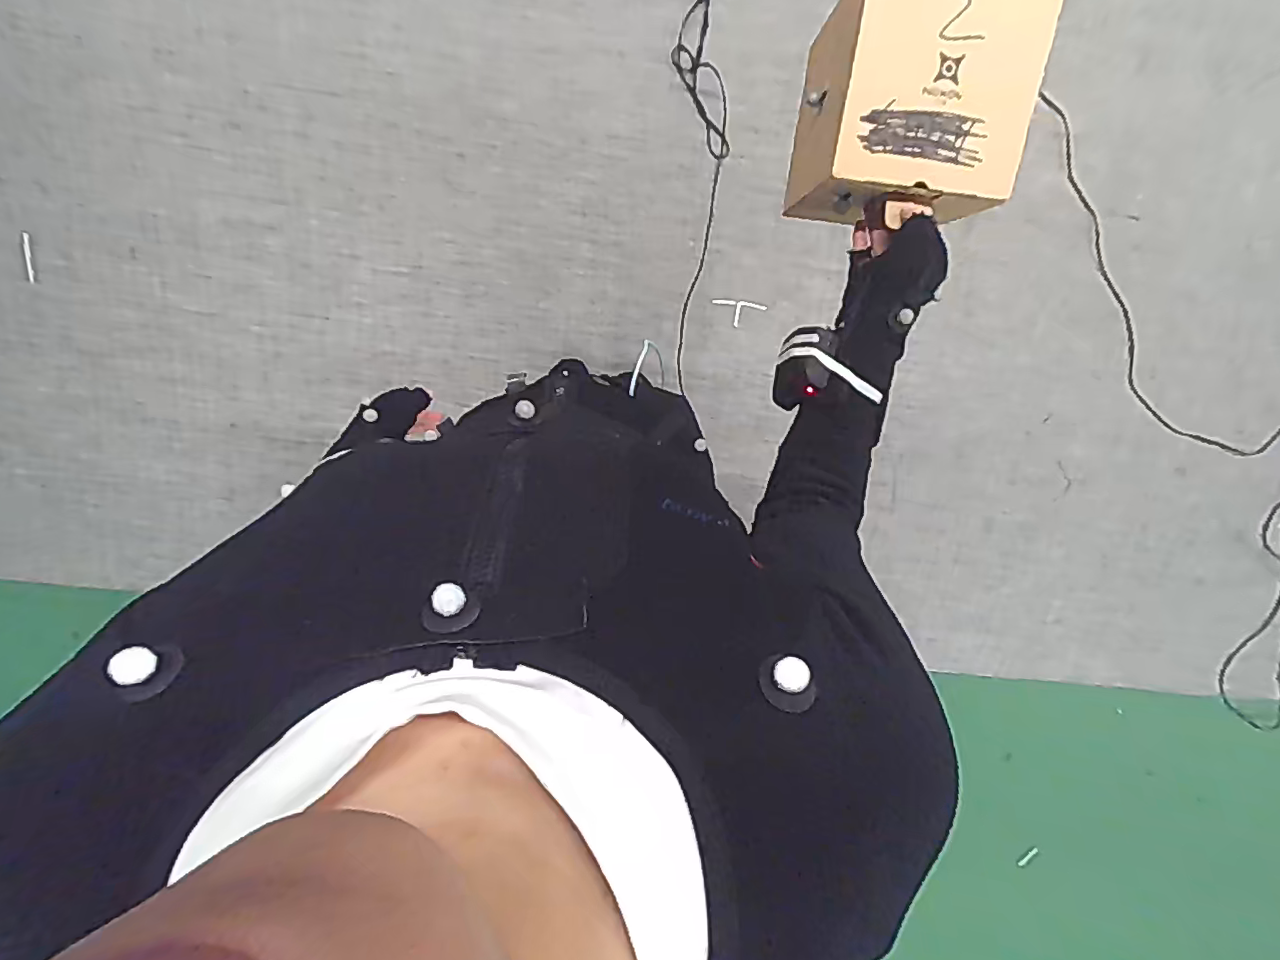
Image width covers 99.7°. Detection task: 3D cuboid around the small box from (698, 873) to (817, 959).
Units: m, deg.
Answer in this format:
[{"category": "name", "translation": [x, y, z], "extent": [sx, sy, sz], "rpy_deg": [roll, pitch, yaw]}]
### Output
[{"category": "small box", "translation": [0.187, 0.780, 0.873], "extent": [0.168, 0.176, 0.179], "rpy_deg": [-1, 104, -1]}]
